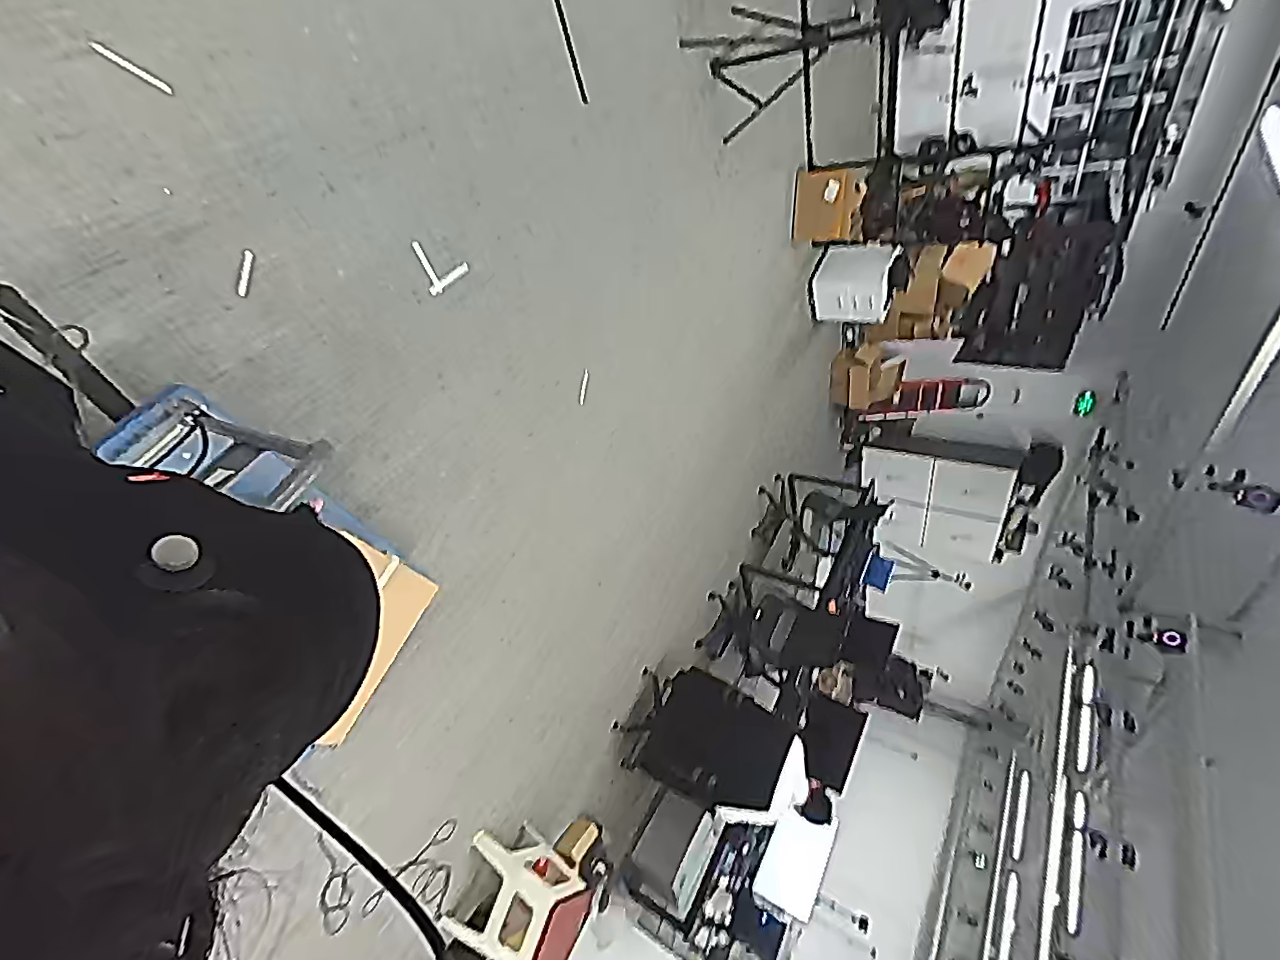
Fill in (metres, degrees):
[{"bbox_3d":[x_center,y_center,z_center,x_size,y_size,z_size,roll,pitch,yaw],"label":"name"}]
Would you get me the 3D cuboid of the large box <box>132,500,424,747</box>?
[{"bbox_3d":[-0.789,0.313,1.219,0.408,0.320,0.320,-62,144,-22],"label":"large box"}]
